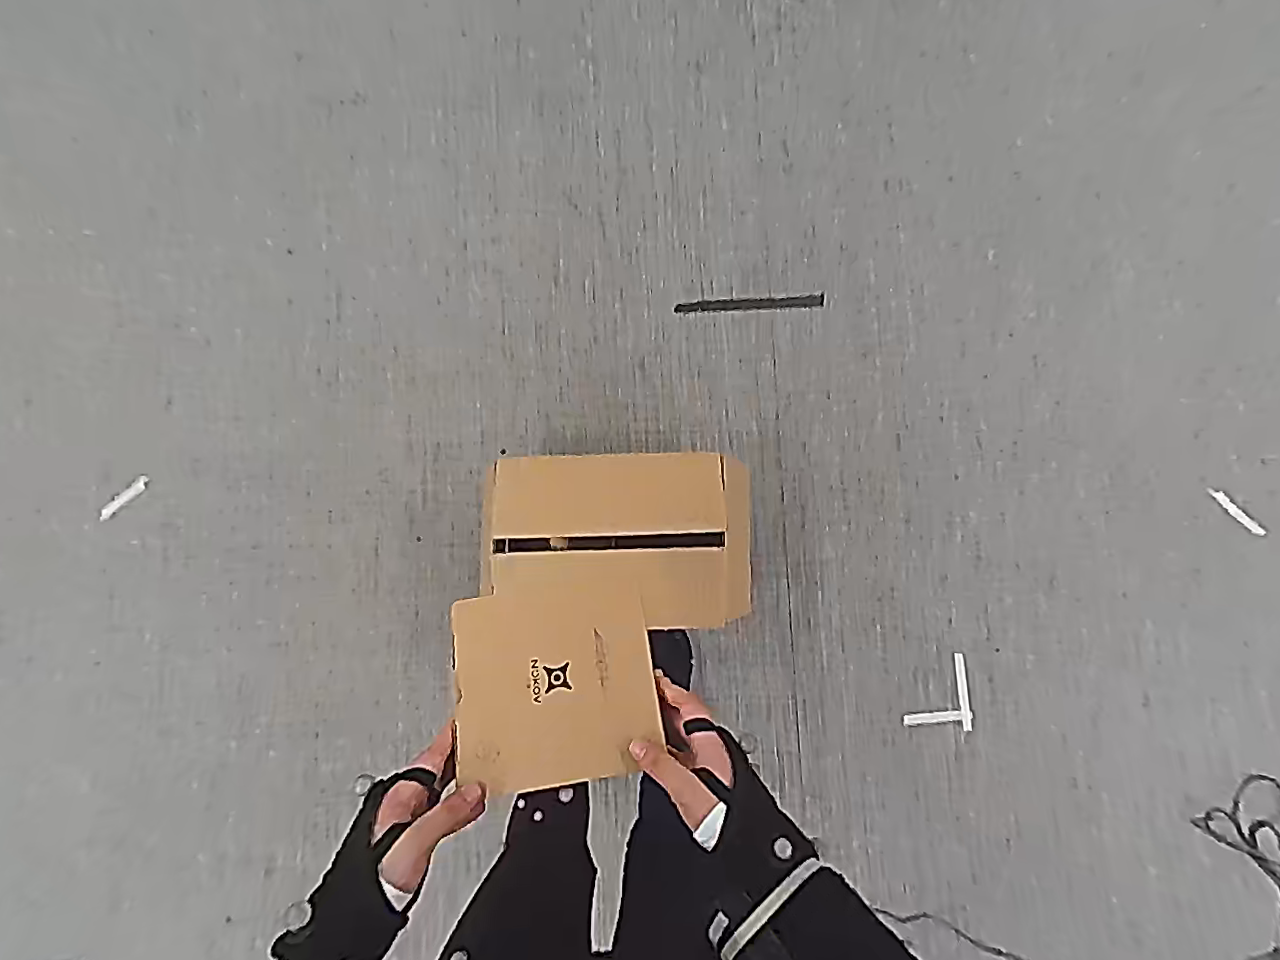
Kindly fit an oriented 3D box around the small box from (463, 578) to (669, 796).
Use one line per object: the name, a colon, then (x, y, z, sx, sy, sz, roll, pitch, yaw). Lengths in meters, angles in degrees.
small box: (-0.069, 0.213, 0.559, 0.179, 0.176, 0.168, -9, 66, -3)
